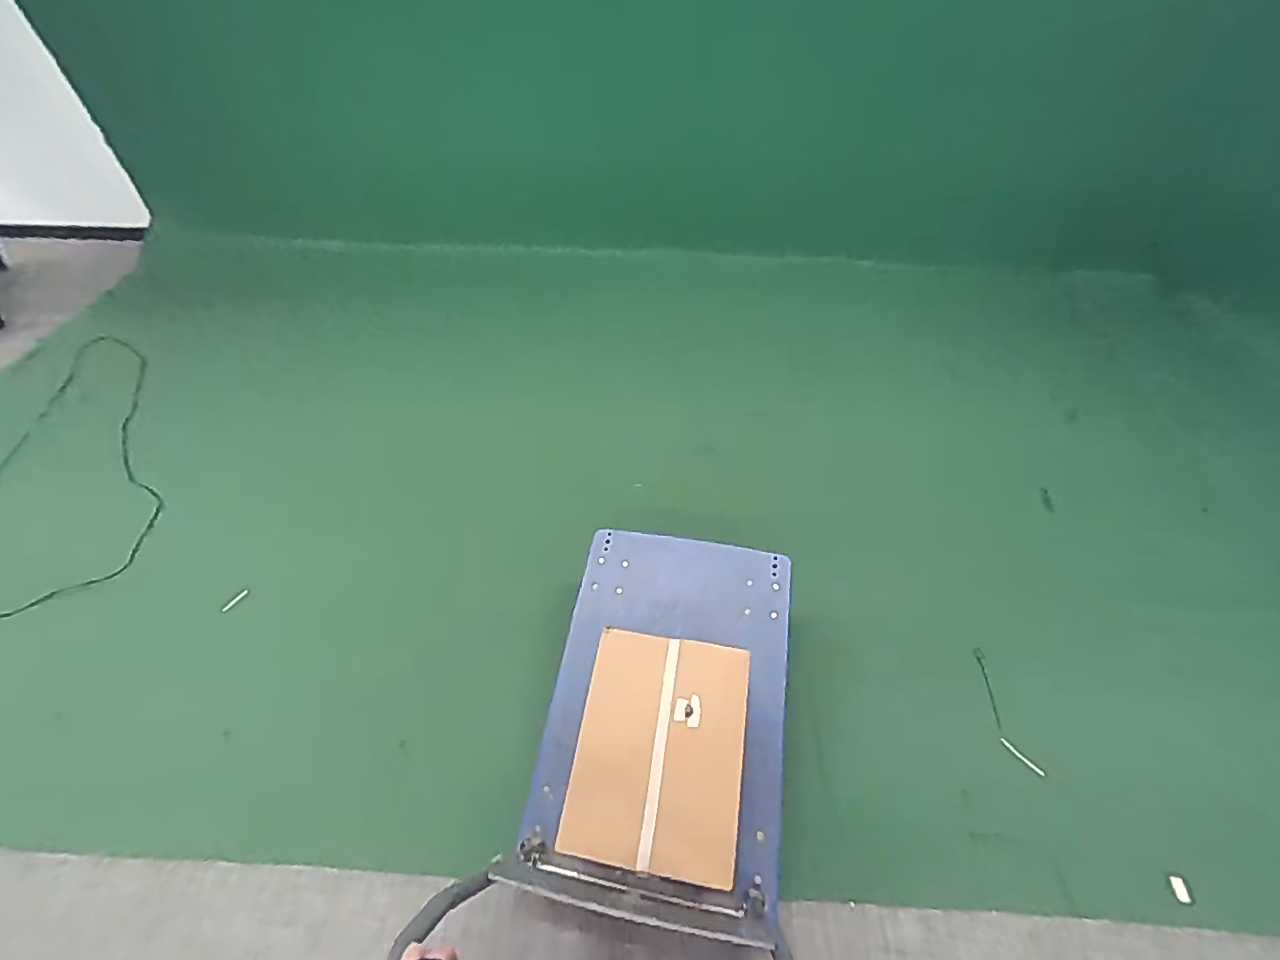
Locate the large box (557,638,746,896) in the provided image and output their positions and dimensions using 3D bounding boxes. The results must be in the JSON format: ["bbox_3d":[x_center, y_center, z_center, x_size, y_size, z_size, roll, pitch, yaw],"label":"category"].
[{"bbox_3d":[0.046,0.601,1.155,0.320,0.320,0.408,7,58,9],"label":"large box"}]
